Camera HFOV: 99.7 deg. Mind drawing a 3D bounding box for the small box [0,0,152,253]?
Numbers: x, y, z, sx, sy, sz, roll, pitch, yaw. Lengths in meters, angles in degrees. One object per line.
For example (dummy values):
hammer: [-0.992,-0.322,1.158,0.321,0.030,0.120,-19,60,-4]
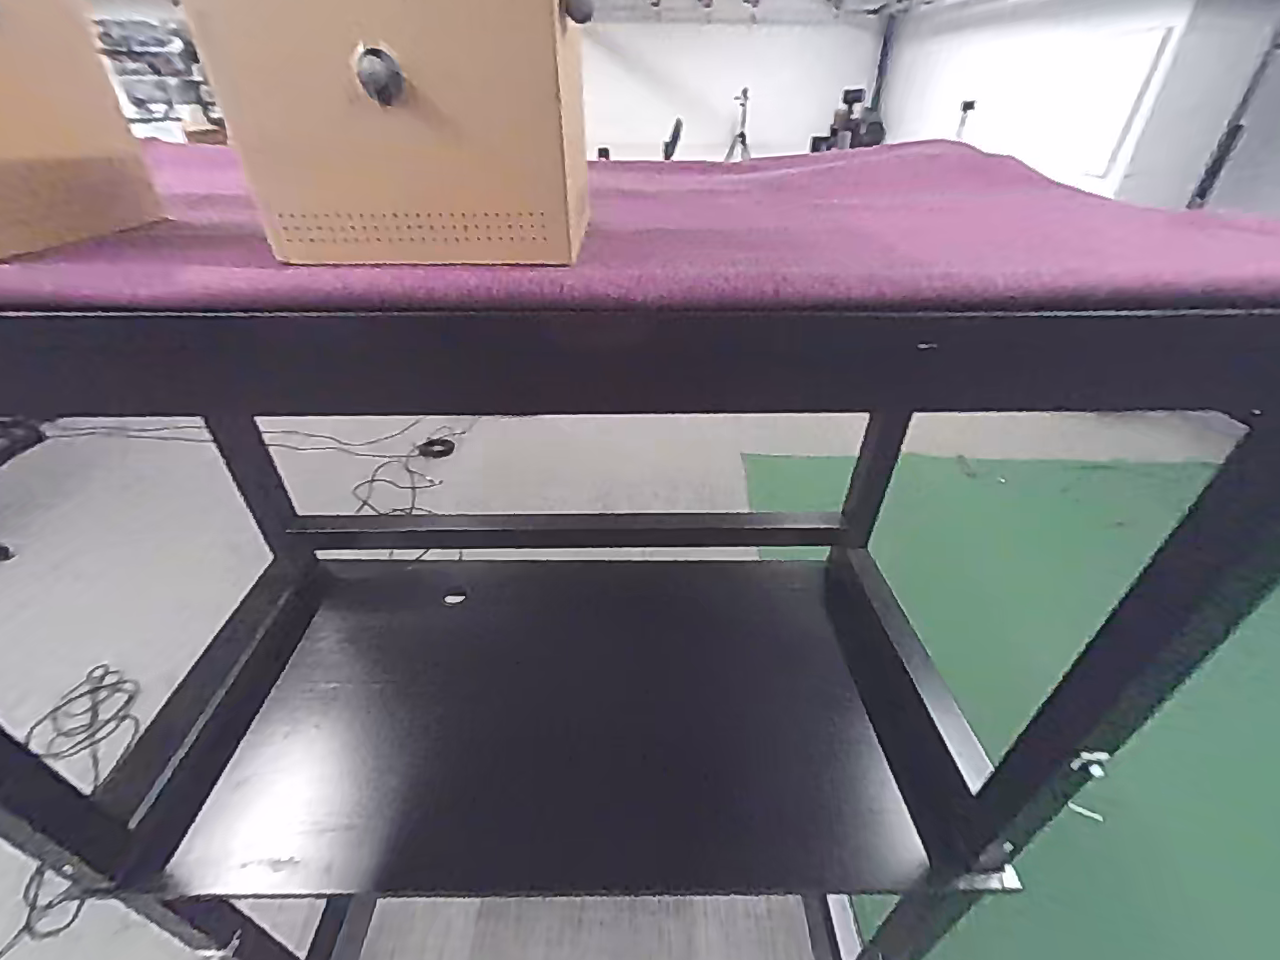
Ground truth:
small box: [-0.451,-0.239,0.321,0.168,0.176,0.179,-1,34,-4]
